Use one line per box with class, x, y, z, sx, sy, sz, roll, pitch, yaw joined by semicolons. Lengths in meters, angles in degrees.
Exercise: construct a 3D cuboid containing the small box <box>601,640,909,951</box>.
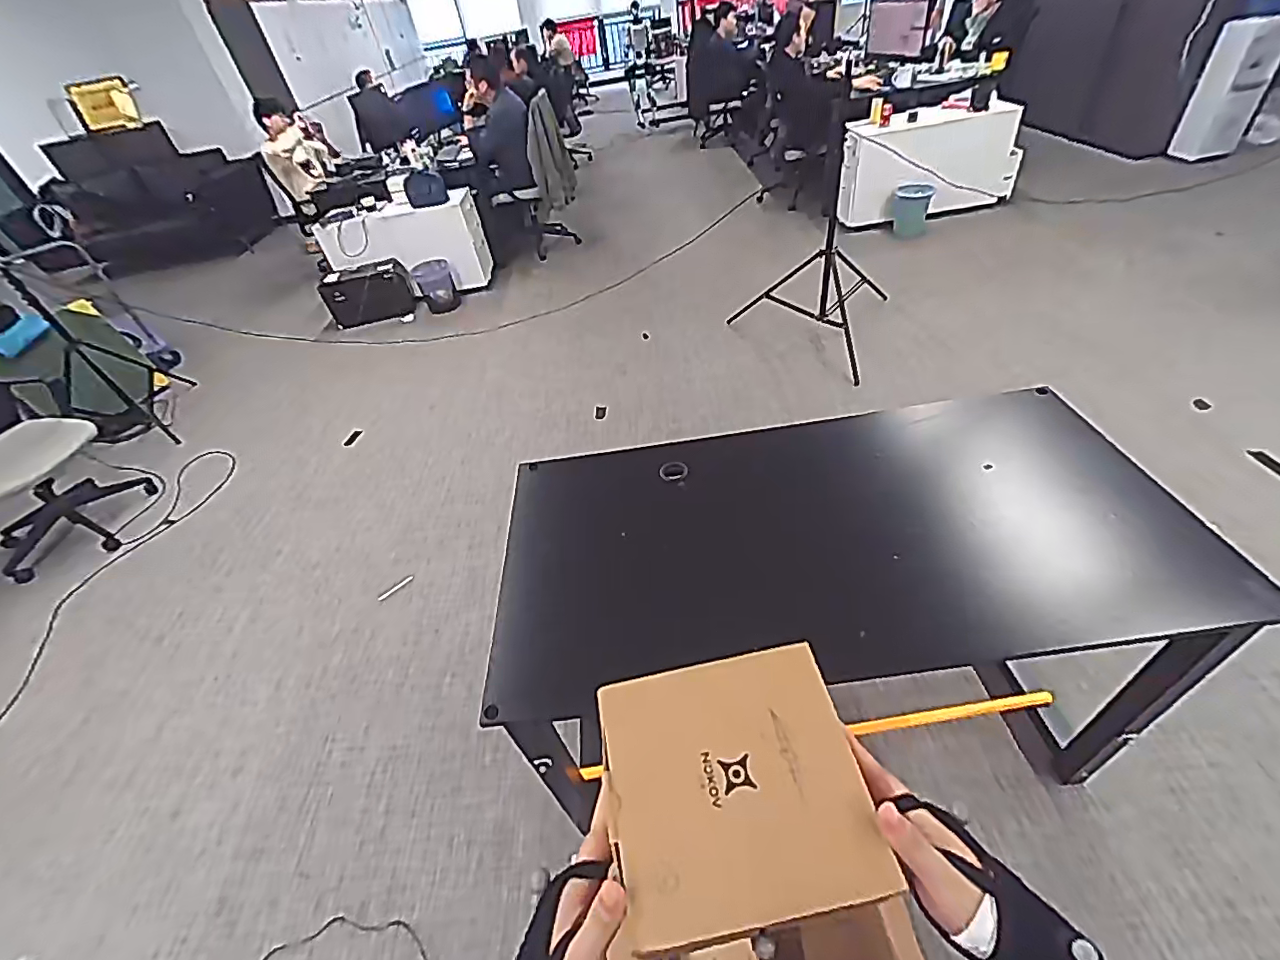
small box;0.075;0.255;0.434;0.179;0.176;0.168;-11;49;-3
